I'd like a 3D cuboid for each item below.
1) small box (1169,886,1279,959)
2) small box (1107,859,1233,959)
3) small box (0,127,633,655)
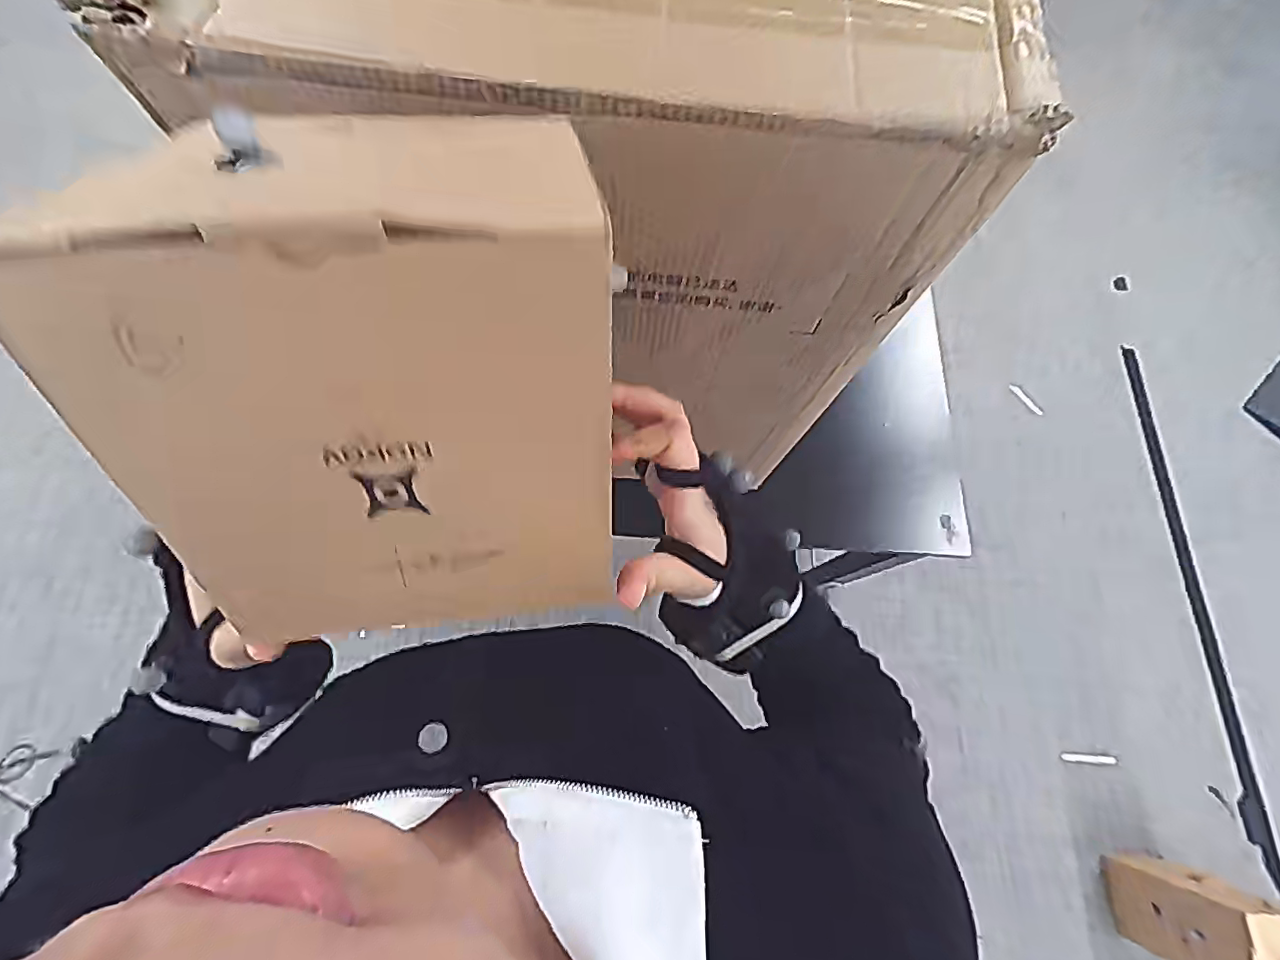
[{"bbox_3d":[1.280,0.977,1.128,0.179,0.176,0.168,5,71,-2],"label":"small box"},{"bbox_3d":[1.270,1.025,1.286,0.168,0.176,0.179,1,72,-3],"label":"small box"},{"bbox_3d":[-0.100,-0.049,0.250,0.168,0.179,0.176,-5,43,-9],"label":"small box"}]
